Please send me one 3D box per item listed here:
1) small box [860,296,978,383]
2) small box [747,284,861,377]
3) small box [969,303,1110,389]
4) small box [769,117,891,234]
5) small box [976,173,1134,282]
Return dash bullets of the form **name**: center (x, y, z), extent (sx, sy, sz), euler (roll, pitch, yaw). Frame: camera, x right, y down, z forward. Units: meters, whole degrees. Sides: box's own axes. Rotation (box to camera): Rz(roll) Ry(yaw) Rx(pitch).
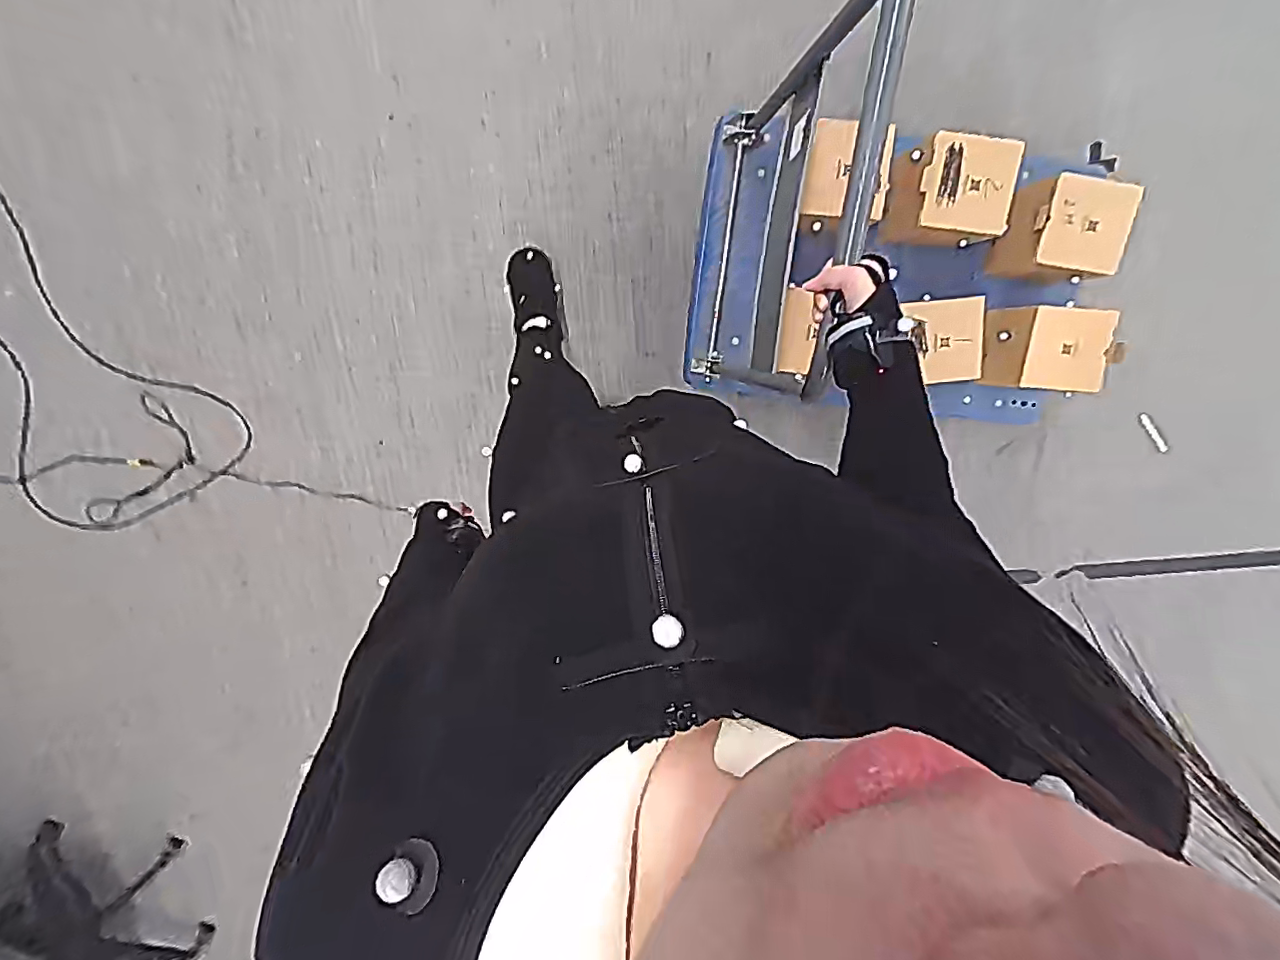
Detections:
- **small box**: center (0.599, -0.305, 1.184), extent (0.179, 0.176, 0.168), euler (-6, 104, -3)
- **small box**: center (0.343, -0.318, 1.168), extent (0.179, 0.176, 0.168), euler (6, 104, -5)
- **small box**: center (0.872, -0.294, 1.201), extent (0.179, 0.176, 0.168), euler (3, 103, -4)
- **small box**: center (0.373, -0.606, 1.096), extent (0.179, 0.176, 0.168), euler (3, 105, -3)
- **small box**: center (0.863, -0.521, 1.142), extent (0.179, 0.176, 0.168), euler (8, 103, -4)
